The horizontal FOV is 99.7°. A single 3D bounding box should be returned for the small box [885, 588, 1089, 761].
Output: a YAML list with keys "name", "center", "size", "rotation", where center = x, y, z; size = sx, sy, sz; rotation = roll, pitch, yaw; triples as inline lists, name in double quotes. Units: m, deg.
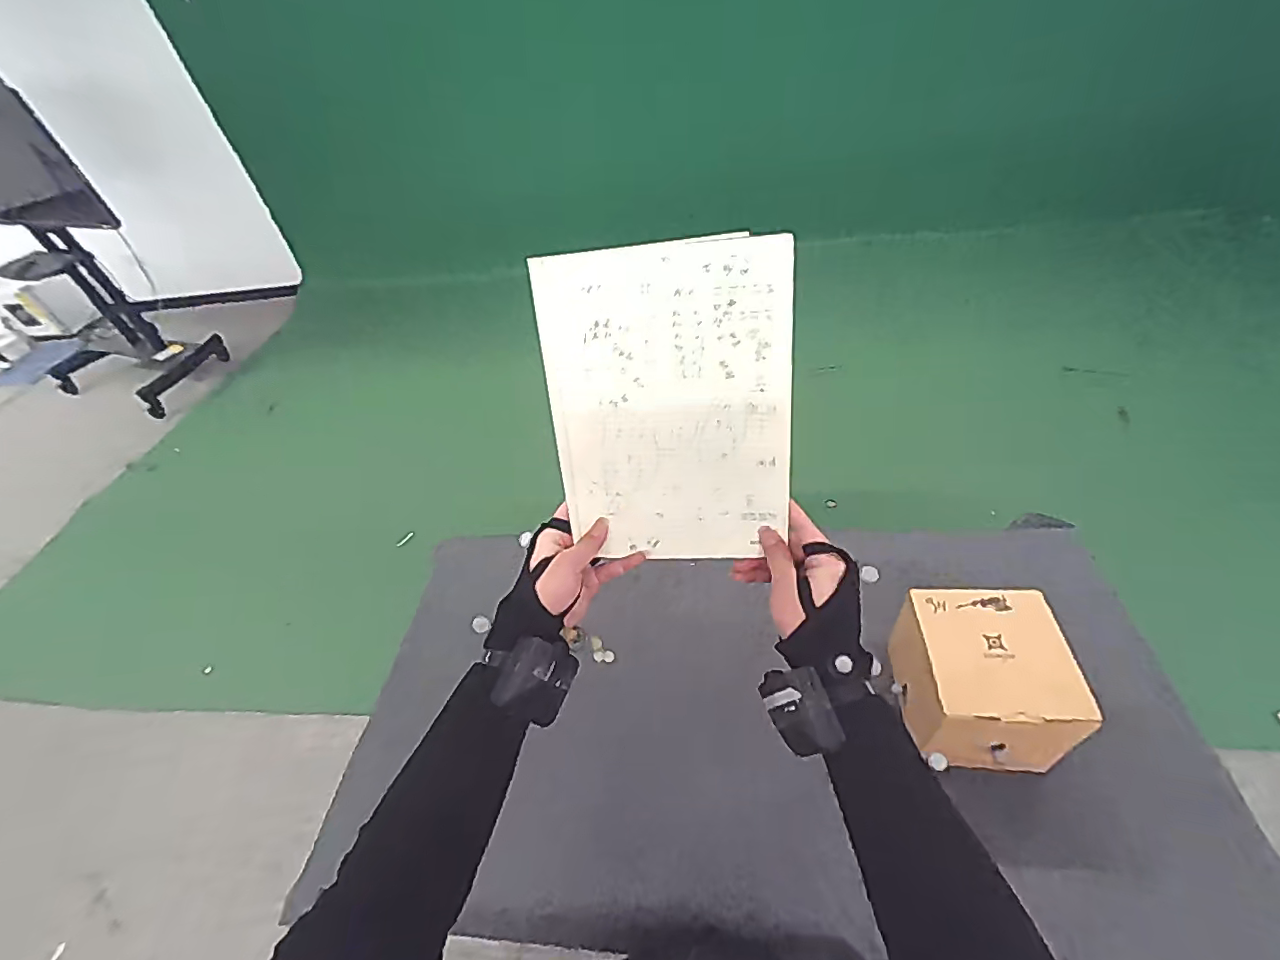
- name: "small box"
  center: [0.449, 0.266, 0.736]
  size: [0.168, 0.176, 0.179]
  rotation: [-1, 47, 9]
